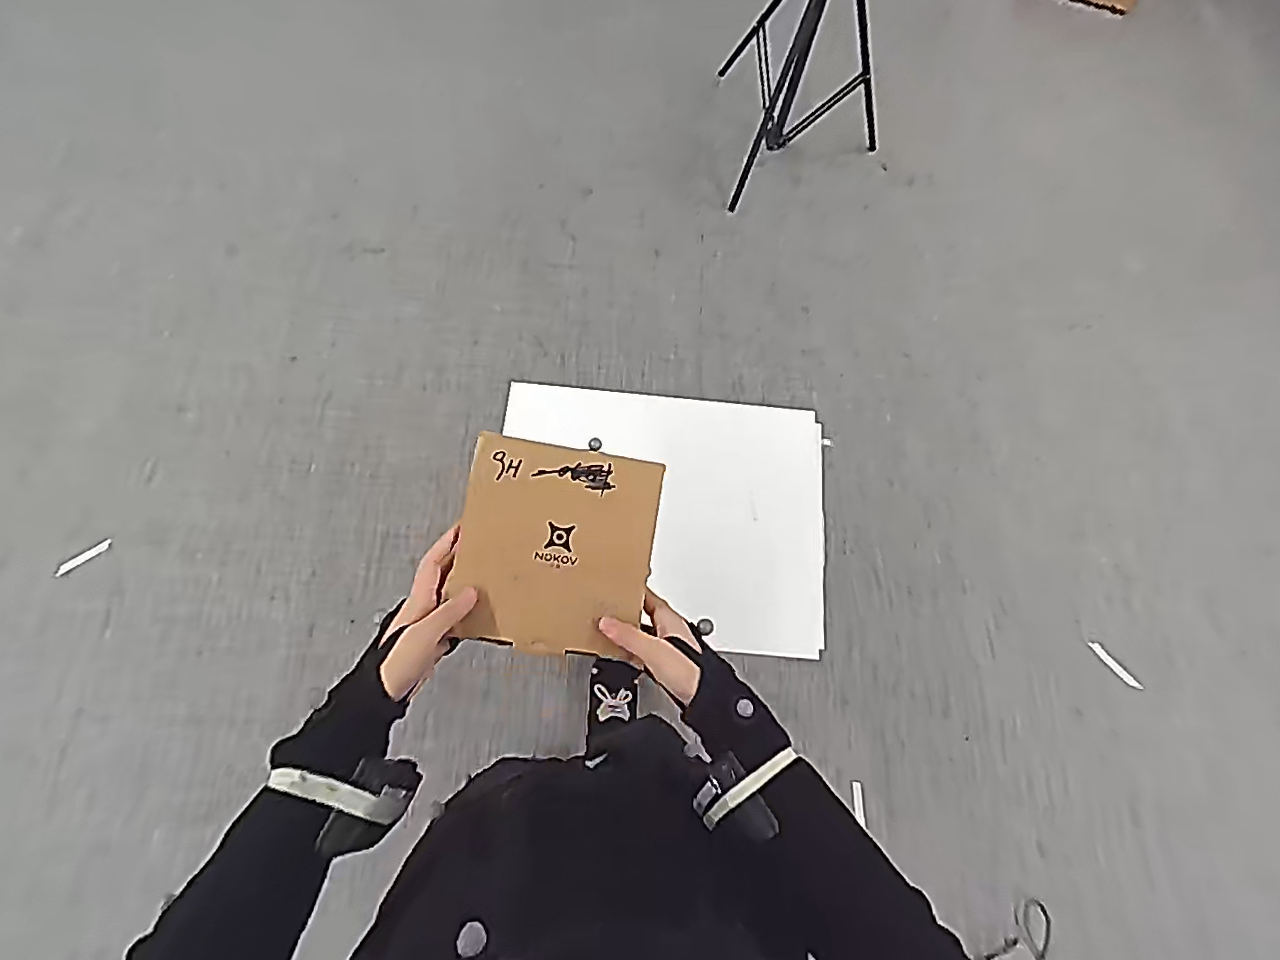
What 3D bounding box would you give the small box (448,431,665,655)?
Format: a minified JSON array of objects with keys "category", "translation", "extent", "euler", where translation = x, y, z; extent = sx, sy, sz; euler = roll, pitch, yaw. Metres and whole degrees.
[{"category":"small box","translation":[-0.079,0.059,0.549],"extent":[0.168,0.176,0.179],"euler":[10,86,-7]}]
